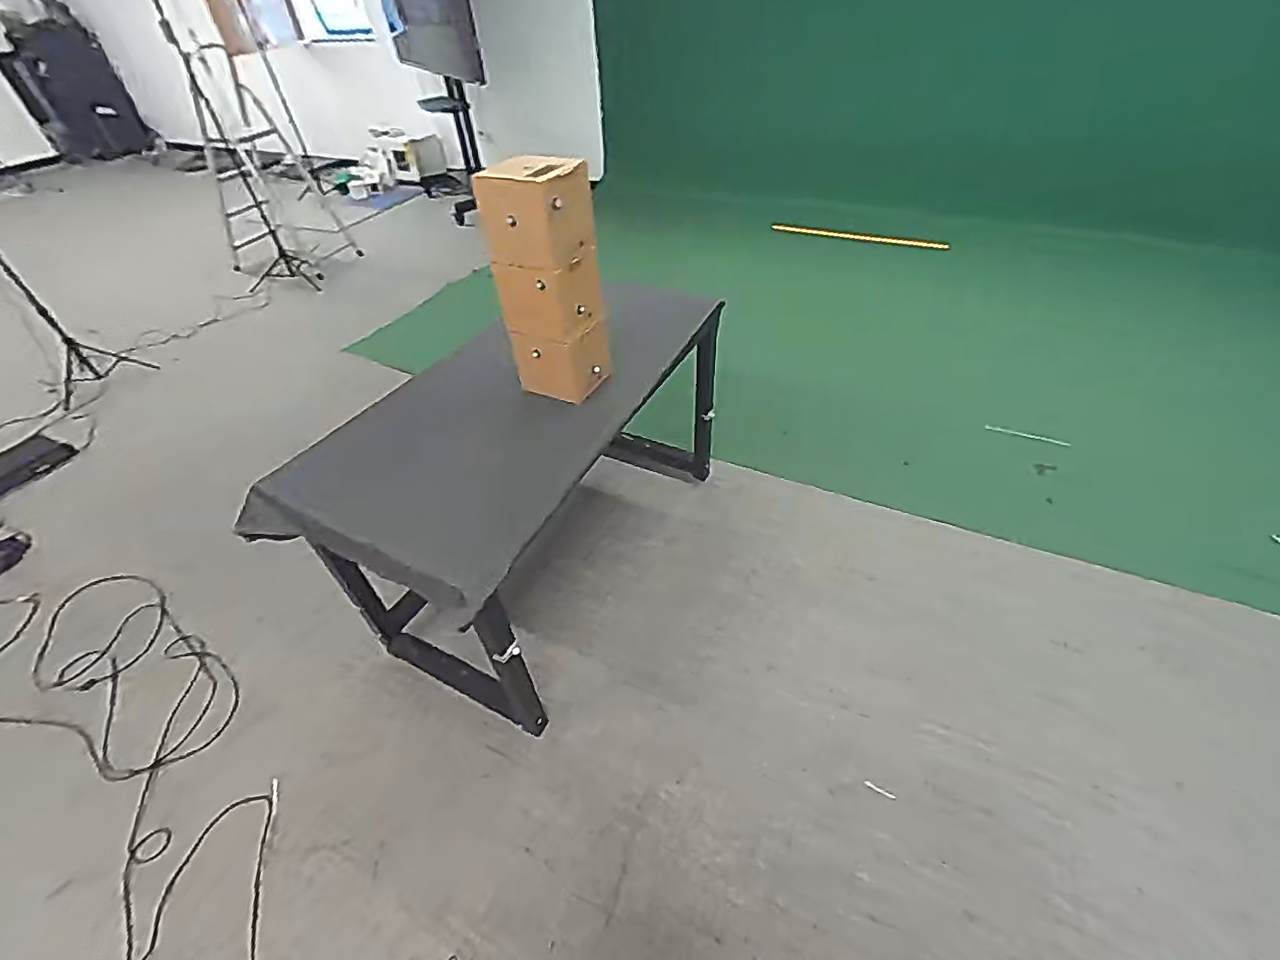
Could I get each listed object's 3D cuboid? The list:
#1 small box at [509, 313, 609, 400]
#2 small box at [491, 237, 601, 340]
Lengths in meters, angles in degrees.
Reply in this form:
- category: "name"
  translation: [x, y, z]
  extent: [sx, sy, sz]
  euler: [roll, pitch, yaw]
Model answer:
- category: "small box"
  translation: [-0.194, -0.319, 1.350]
  extent: [0.179, 0.176, 0.168]
  euler: [18, 48, 21]
- category: "small box"
  translation: [-0.207, -0.439, 1.241]
  extent: [0.179, 0.176, 0.168]
  euler: [18, 47, 21]
